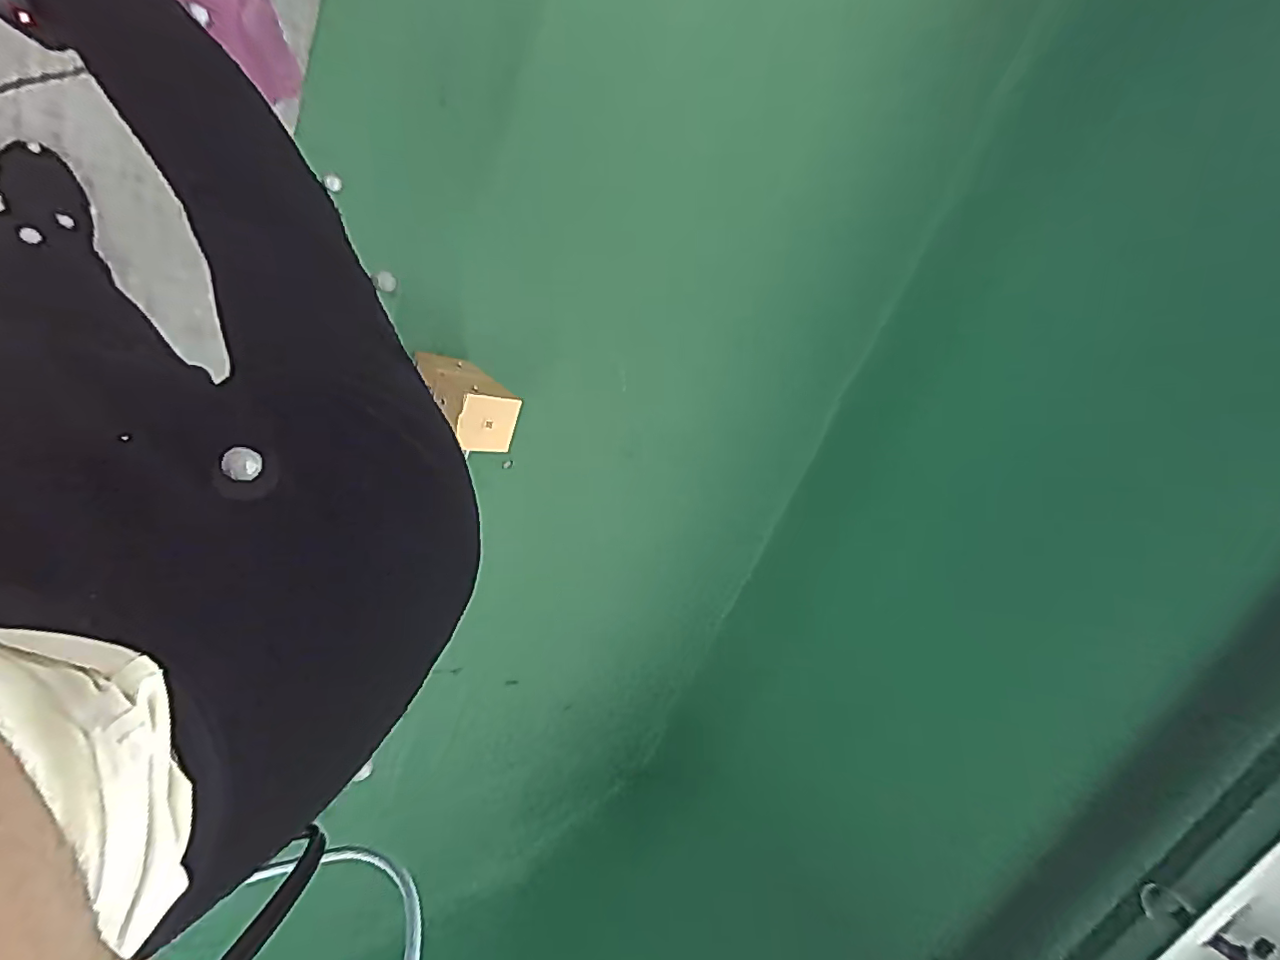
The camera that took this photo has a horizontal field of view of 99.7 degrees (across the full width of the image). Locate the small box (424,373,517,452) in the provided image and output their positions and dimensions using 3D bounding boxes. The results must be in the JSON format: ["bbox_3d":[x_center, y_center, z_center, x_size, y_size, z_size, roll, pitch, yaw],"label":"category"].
[{"bbox_3d":[-0.484,-0.192,1.537,0.179,0.176,0.168,0,118,-46],"label":"small box"}]

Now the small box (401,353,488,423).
[{"bbox_3d":[-0.593,-0.270,1.628,0.179,0.176,0.168,1,117,-48],"label":"small box"}]
